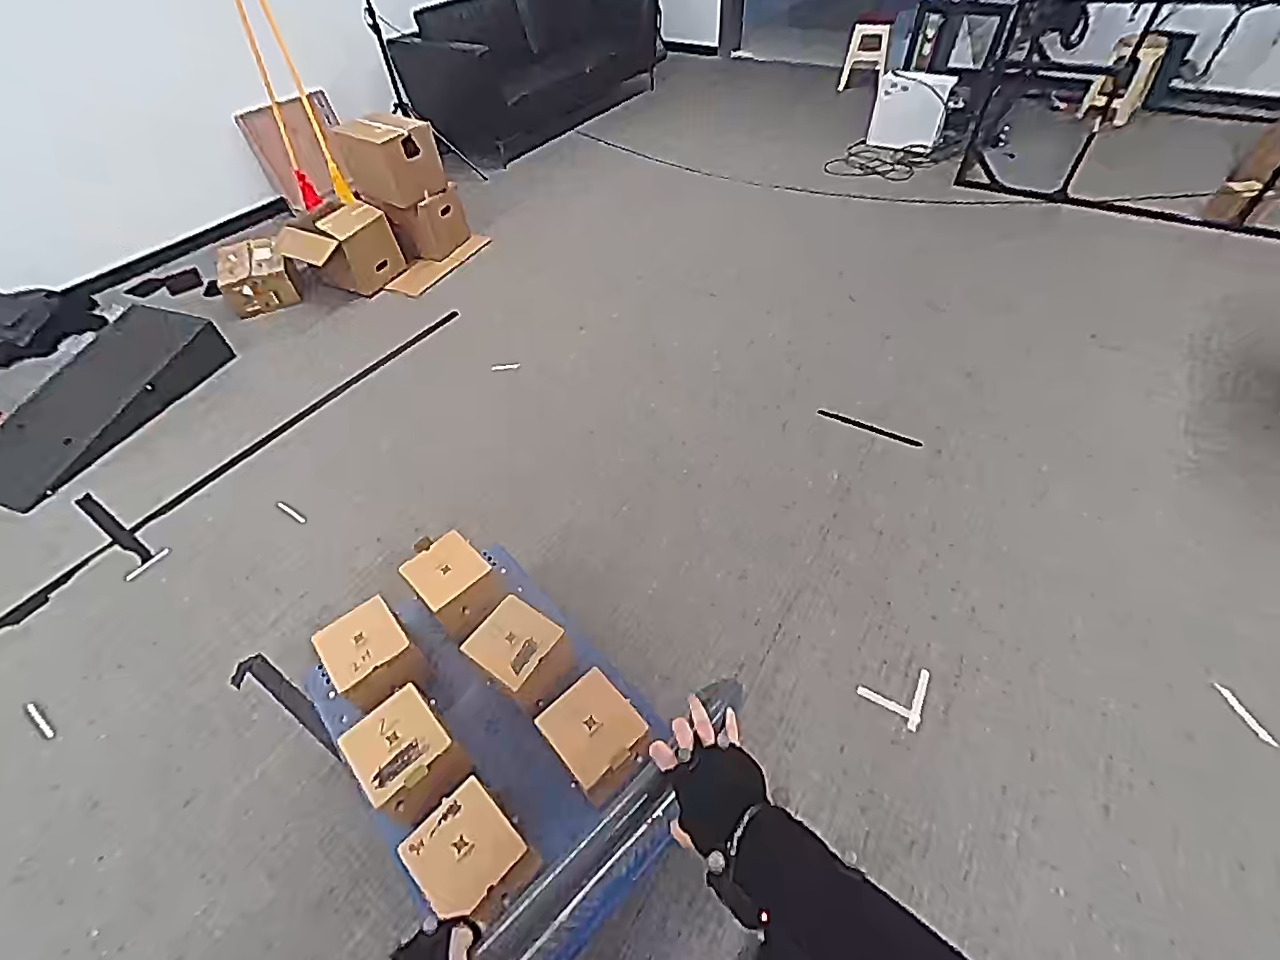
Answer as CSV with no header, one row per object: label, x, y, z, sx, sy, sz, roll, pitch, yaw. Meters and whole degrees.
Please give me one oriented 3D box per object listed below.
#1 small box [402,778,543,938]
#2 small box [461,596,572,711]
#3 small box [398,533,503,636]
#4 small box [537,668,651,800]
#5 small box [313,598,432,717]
small box,-0.302,0.703,1.010,0.179,0.176,0.168,35,58,27
small box,-0.278,0.411,1.262,0.179,0.176,0.168,26,55,24
small box,-0.478,0.276,1.389,0.179,0.176,0.168,35,59,28
small box,-0.089,0.541,1.142,0.168,0.176,0.179,-36,56,-26
small box,-0.620,0.420,1.269,0.168,0.176,0.179,-35,57,-24
